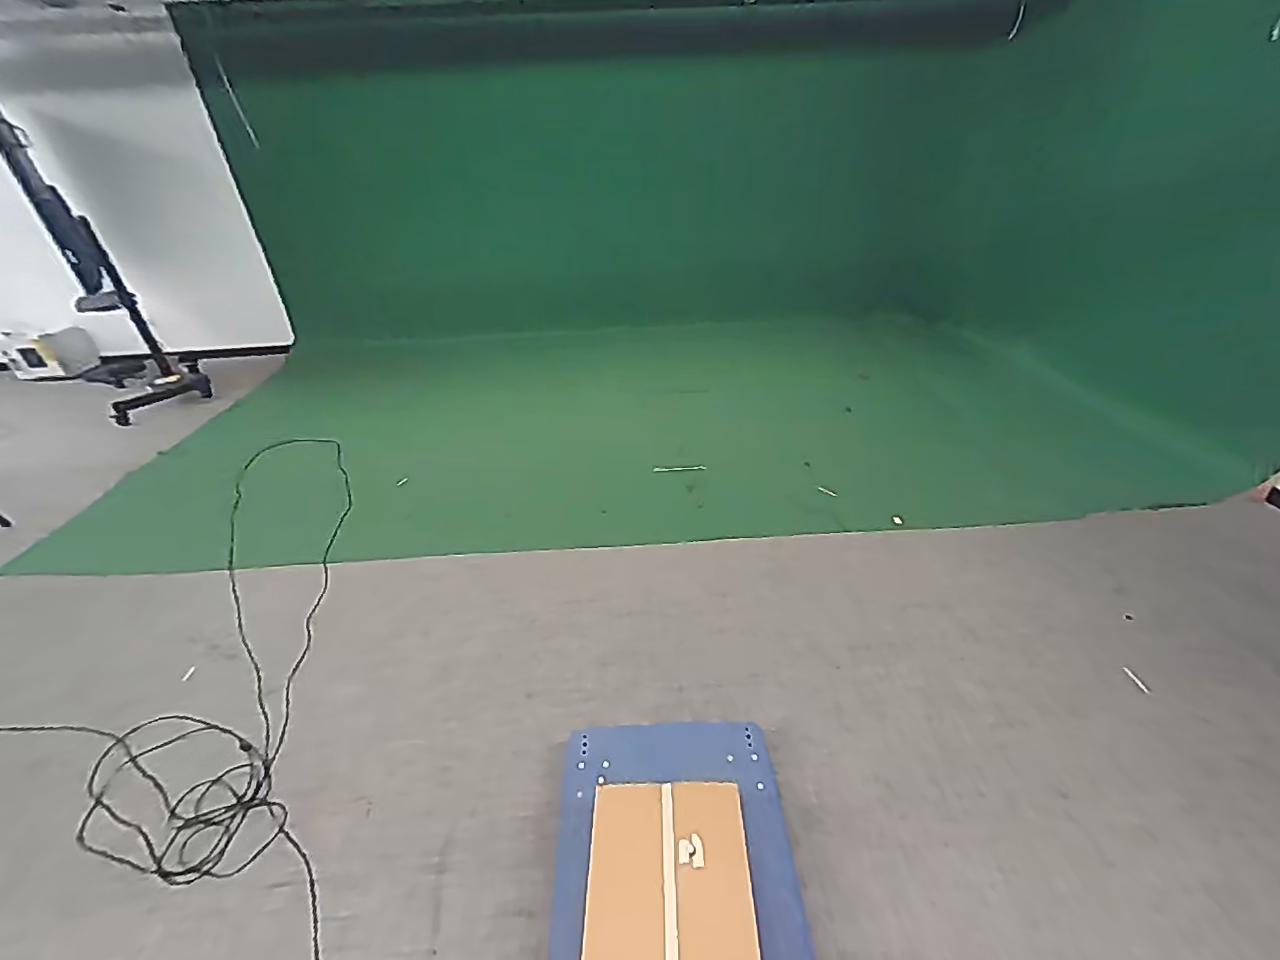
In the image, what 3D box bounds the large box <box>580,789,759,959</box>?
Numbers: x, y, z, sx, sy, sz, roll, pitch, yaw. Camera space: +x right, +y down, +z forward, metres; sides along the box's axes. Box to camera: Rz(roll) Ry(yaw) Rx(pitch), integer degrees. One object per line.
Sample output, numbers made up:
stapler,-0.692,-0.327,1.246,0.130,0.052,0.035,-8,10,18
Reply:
large box,0.058,0.912,1.096,0.320,0.320,0.408,-1,32,2
